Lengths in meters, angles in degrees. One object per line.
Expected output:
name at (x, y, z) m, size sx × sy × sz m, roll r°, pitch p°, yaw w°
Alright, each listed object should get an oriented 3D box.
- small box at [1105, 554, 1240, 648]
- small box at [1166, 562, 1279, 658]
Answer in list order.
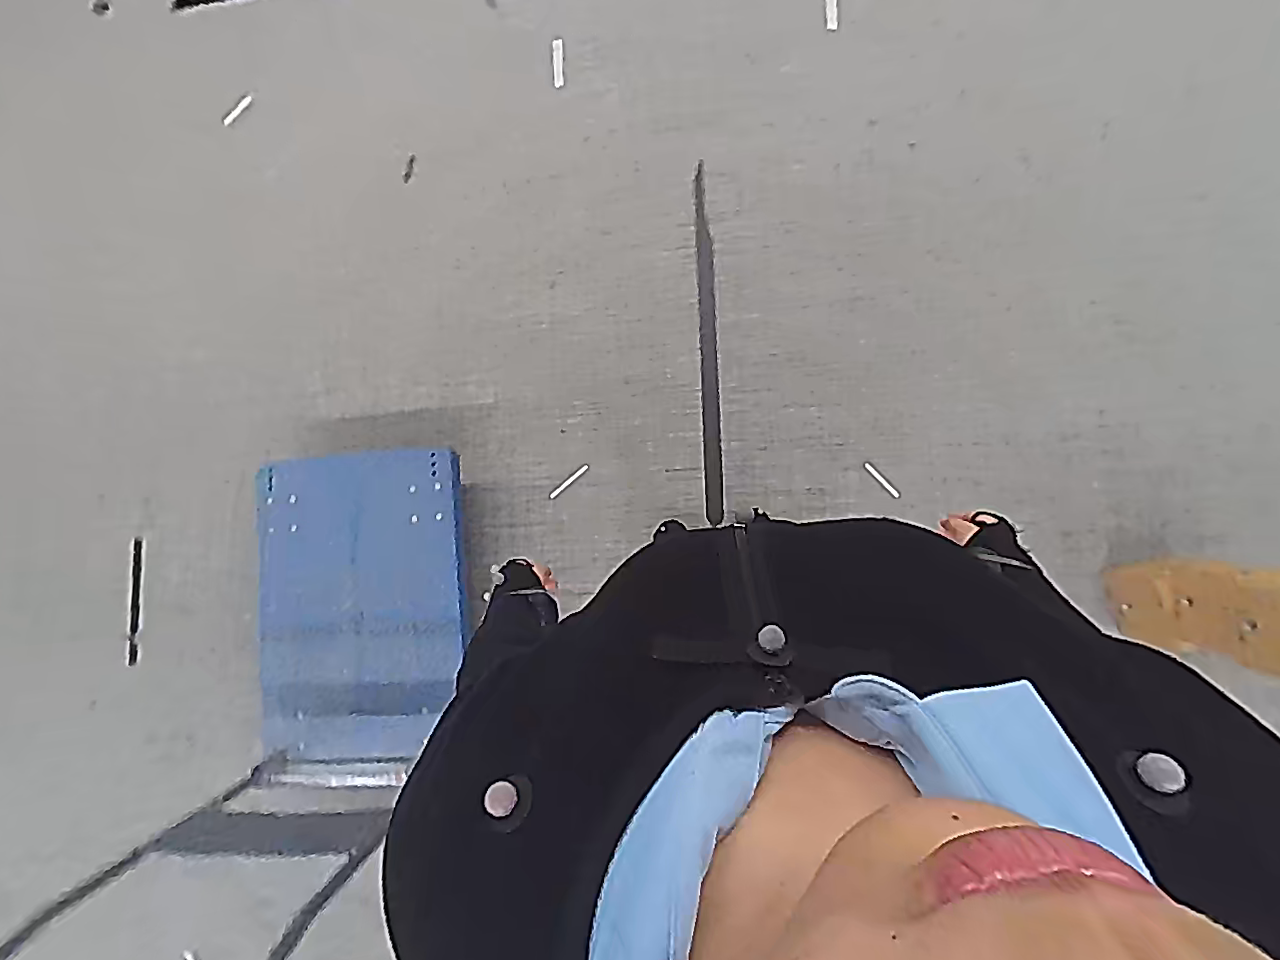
small box at (1.264, 0.276, 1.270) m, size 0.179 × 0.176 × 0.168 m, roll -15°, pitch 84°, yaw 6°
small box at (1.248, 0.259, 1.108) m, size 0.179 × 0.176 × 0.168 m, roll -3°, pitch 86°, yaw 8°
